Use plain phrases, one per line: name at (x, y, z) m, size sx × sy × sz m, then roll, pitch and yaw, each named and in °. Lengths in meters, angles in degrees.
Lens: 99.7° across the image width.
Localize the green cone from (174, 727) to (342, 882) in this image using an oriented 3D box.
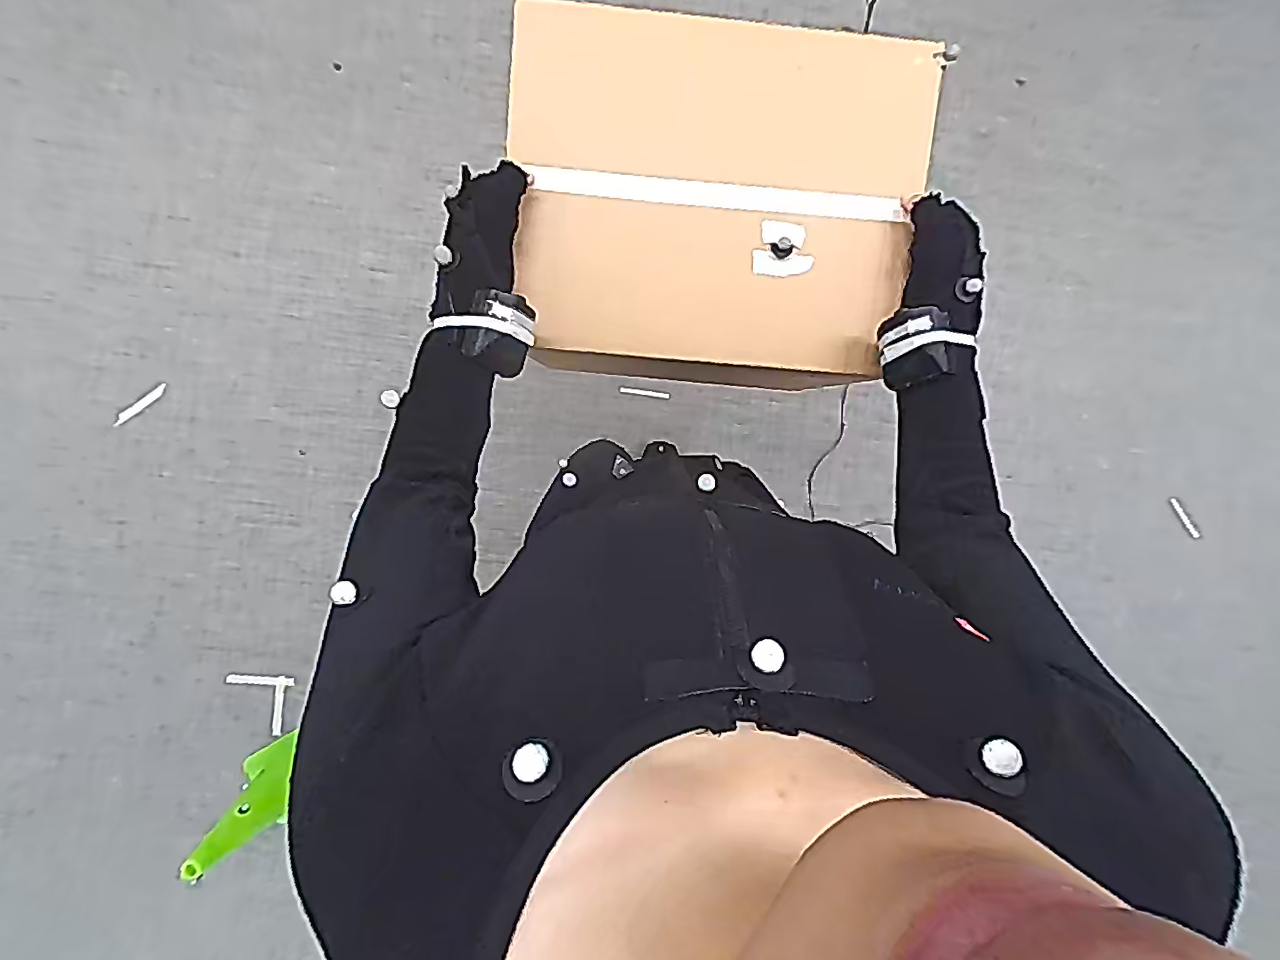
green cone at (-0.911, 0.778, 1.256) m, size 0.202 × 0.368 × 0.200 m, roll -31°, pitch 91°, yaw -1°

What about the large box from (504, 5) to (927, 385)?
large box at (0.064, -0.295, 0.674) m, size 0.408 × 0.320 × 0.320 m, roll 4°, pitch 97°, yaw -3°
